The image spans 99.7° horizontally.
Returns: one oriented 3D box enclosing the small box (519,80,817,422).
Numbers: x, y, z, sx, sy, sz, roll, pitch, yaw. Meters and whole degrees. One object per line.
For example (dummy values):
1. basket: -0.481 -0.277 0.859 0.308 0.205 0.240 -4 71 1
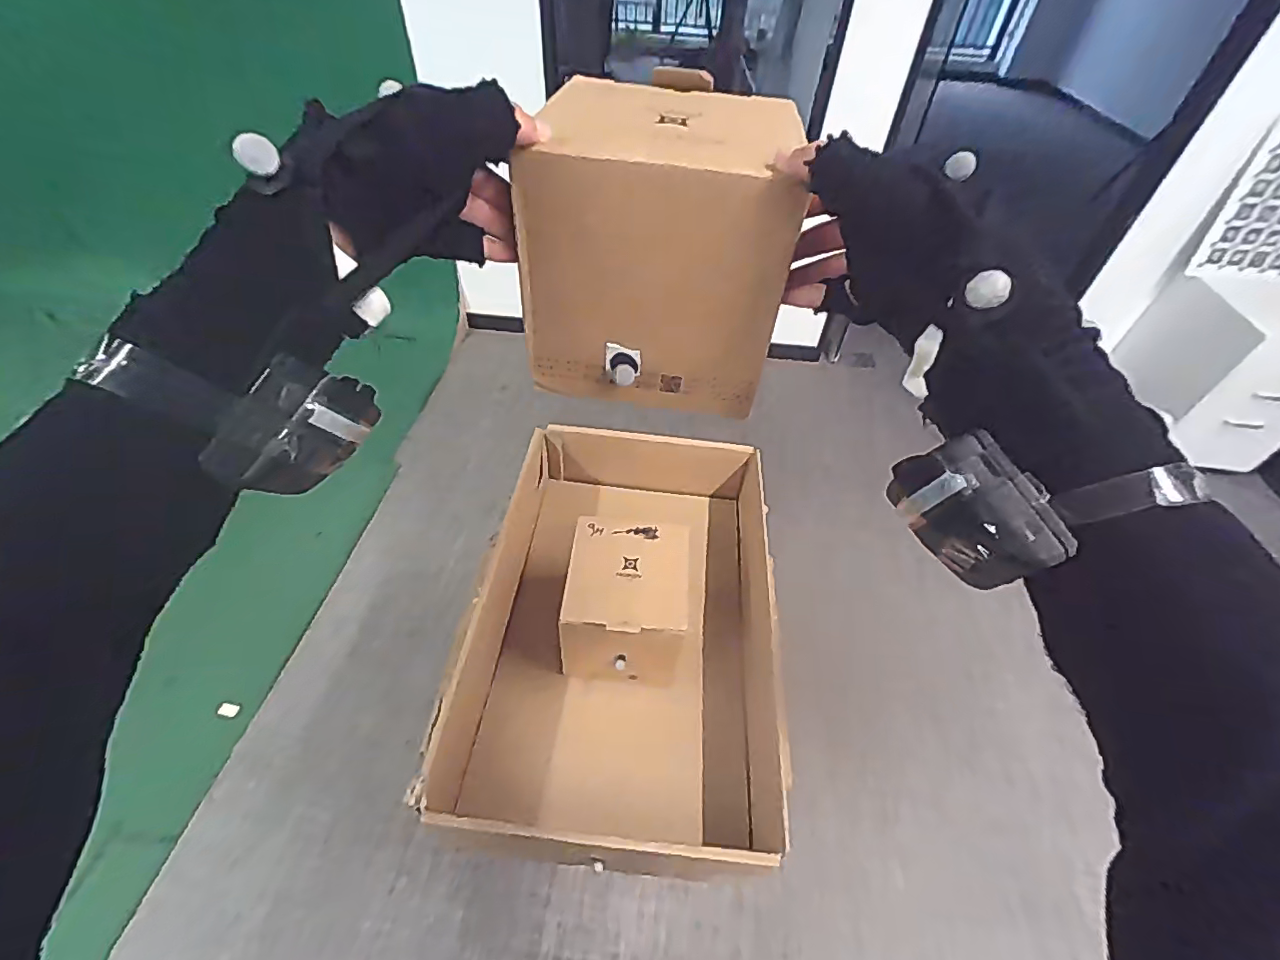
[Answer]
1. small box: 0.018 -0.169 0.403 0.168 0.176 0.179 7 48 2
